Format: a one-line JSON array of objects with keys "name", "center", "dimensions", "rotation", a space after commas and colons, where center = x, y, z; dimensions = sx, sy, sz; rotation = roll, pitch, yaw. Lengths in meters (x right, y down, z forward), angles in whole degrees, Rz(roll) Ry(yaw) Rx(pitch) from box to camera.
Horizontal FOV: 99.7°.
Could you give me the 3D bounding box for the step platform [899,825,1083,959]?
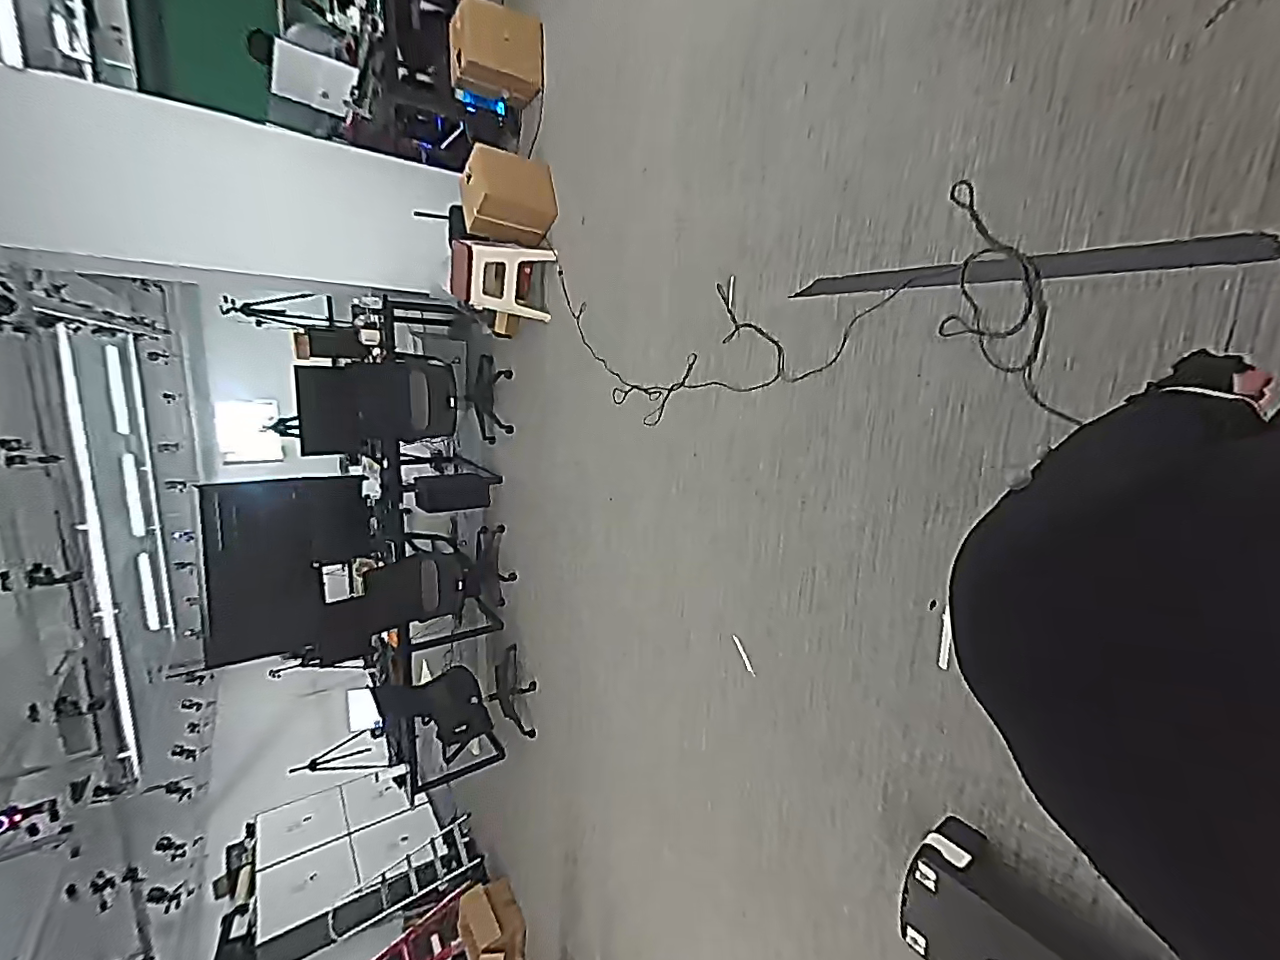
[{"name": "step platform", "center": [0.928, 1.121, 1.171], "dimensions": [0.684, 0.204, 0.286], "rotation": [17, 110, 52]}]
